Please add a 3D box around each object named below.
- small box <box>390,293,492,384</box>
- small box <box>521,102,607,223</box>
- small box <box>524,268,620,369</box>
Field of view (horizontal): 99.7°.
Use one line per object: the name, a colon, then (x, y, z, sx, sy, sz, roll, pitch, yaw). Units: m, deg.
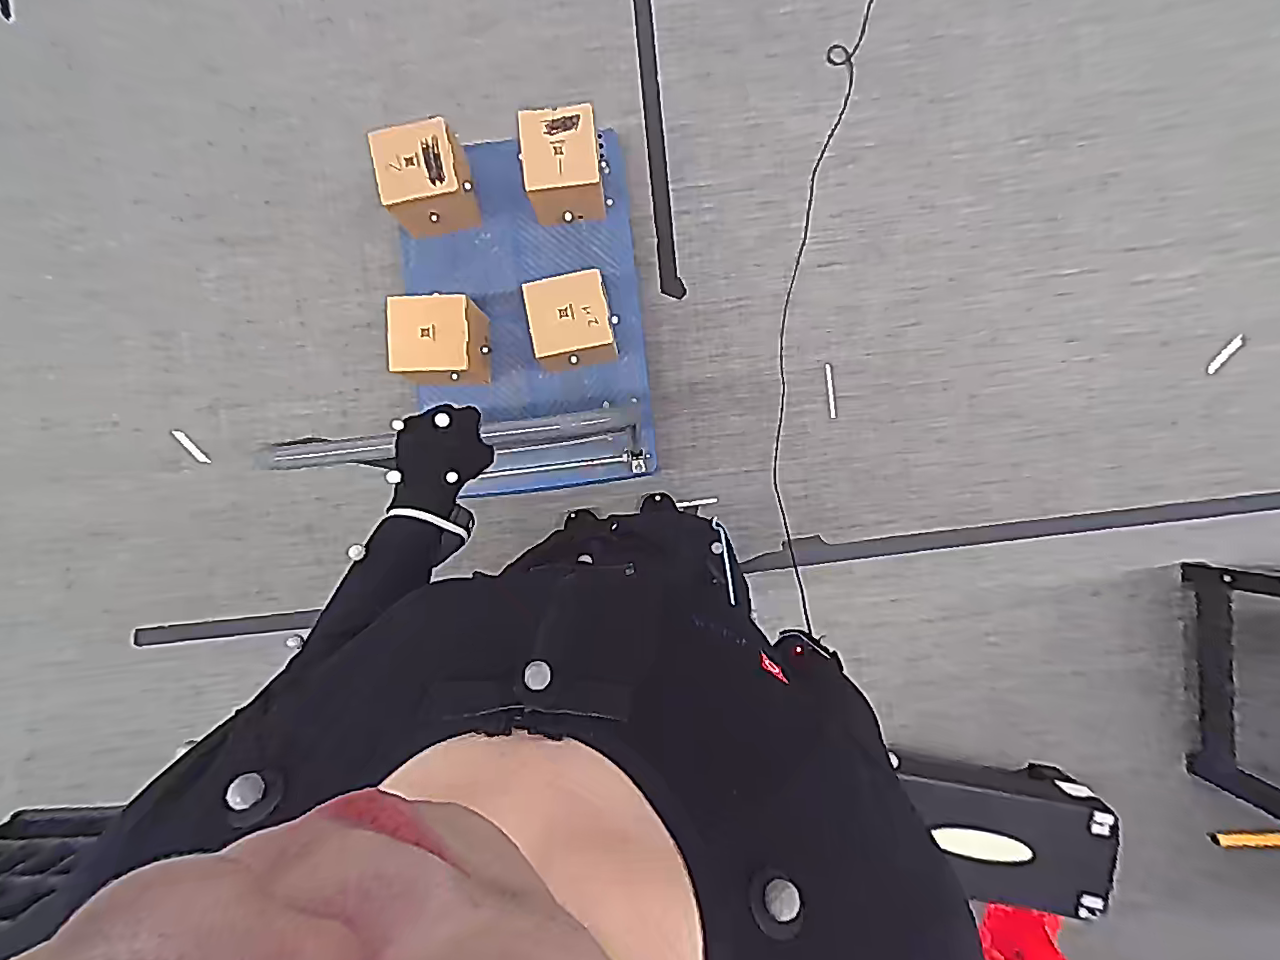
small box: (-0.455, -0.321, 1.255, 0.179, 0.176, 0.168, -2, 89, -1)
small box: (-0.170, -0.725, 1.248, 0.168, 0.176, 0.179, -6, 91, 1)
small box: (-0.150, -0.364, 1.248, 0.179, 0.176, 0.168, -11, 90, 1)
